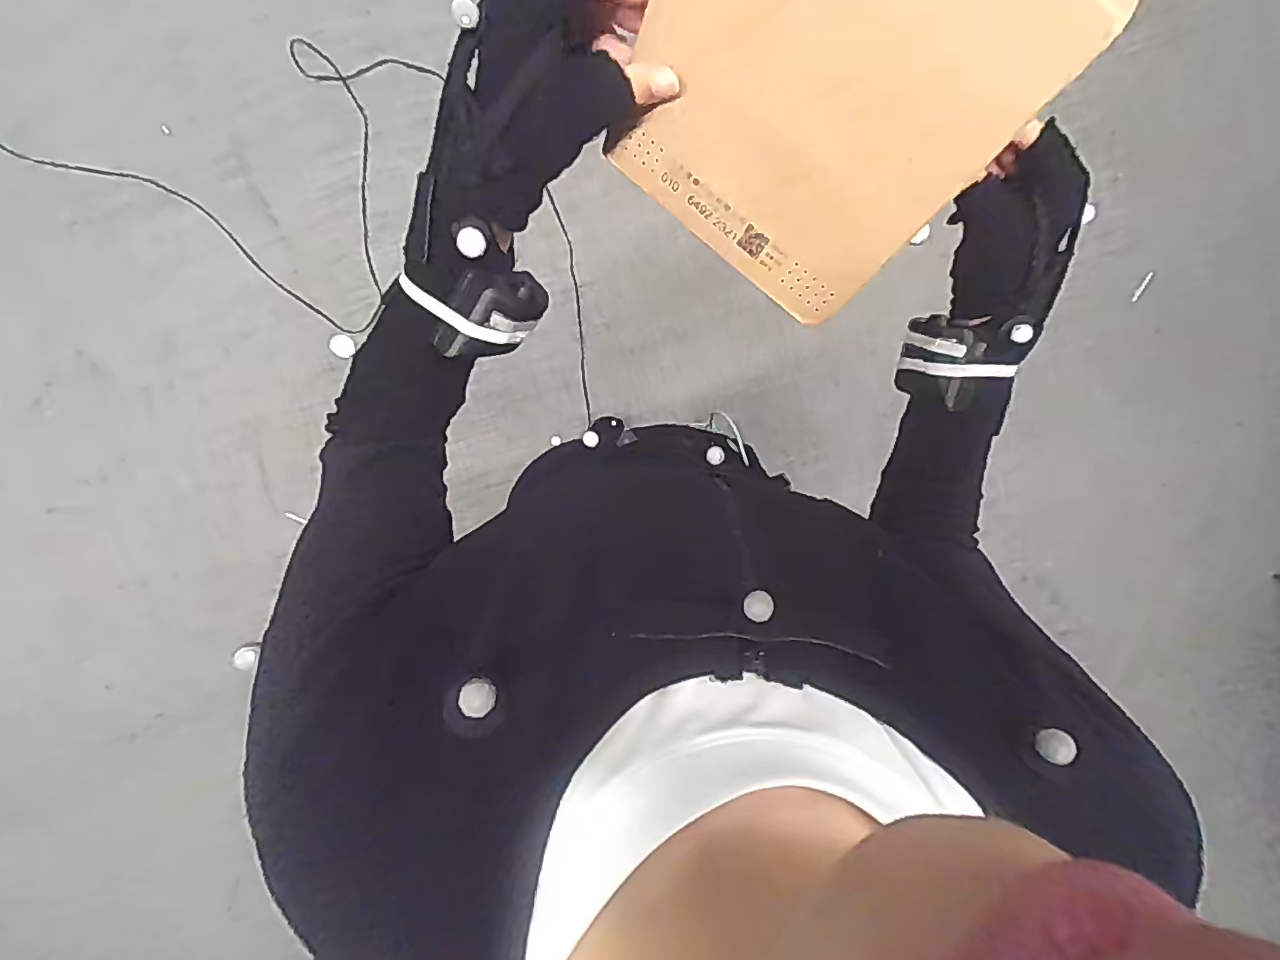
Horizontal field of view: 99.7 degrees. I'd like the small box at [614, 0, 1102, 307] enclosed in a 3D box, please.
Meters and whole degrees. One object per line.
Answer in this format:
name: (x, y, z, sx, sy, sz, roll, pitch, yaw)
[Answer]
small box: (0.110, -0.236, 0.298, 0.168, 0.176, 0.179, 40, 58, -2)
